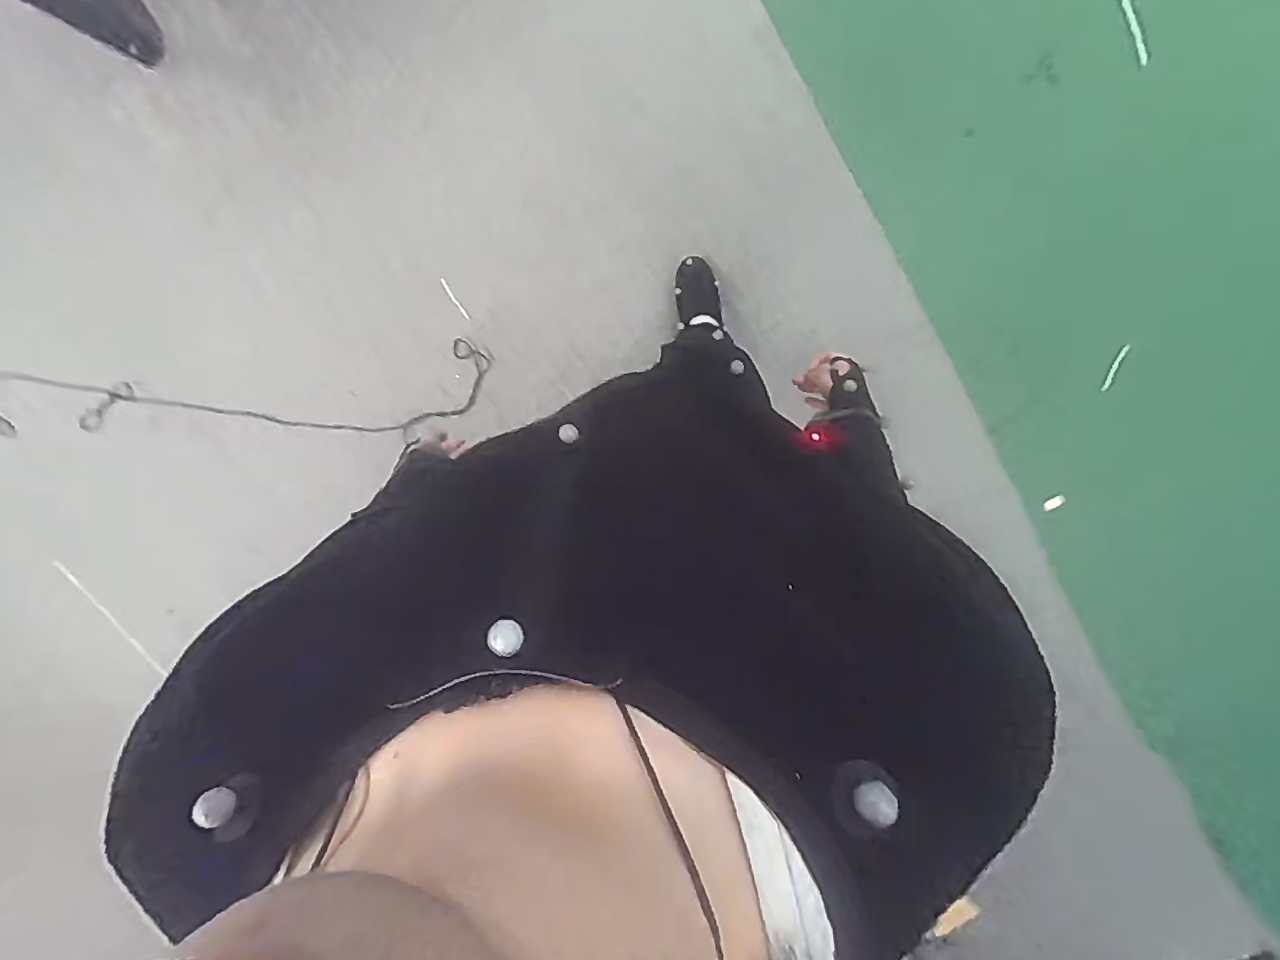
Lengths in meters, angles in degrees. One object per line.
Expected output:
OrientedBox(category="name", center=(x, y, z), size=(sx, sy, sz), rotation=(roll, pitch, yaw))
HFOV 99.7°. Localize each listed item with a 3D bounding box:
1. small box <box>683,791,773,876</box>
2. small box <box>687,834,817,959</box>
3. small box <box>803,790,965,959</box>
OrientedBox(category="small box", center=(0.198, 0.815, 1.180), size=(0.168, 0.176, 0.179), rotation=(-20, 101, 6))
OrientedBox(category="small box", center=(0.201, 0.822, 1.013), size=(0.179, 0.176, 0.168), rotation=(-38, 101, 8))
OrientedBox(category="small box", center=(0.429, 0.714, 0.982), size=(0.179, 0.176, 0.168), rotation=(42, 100, -7))
